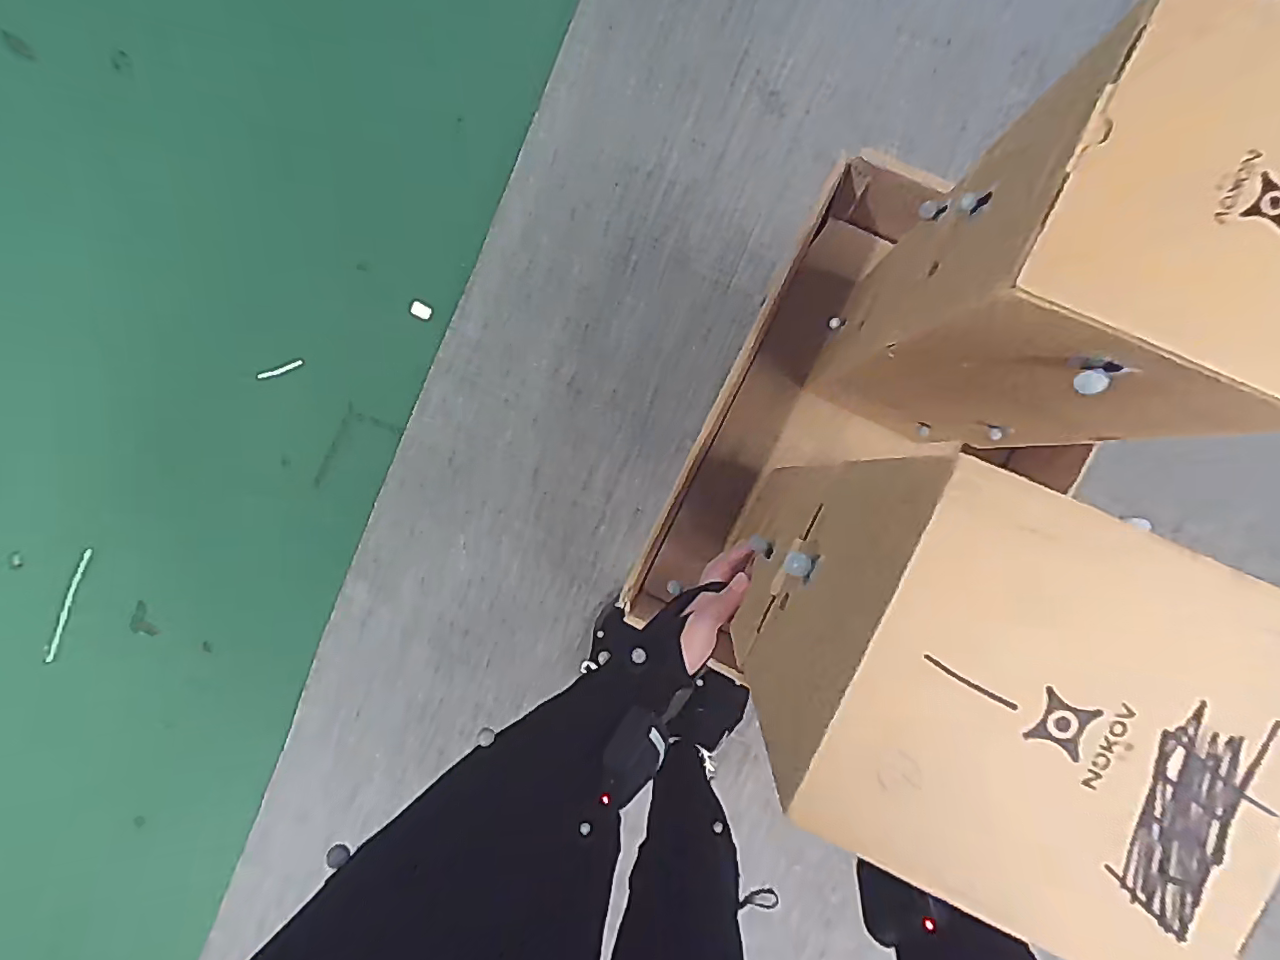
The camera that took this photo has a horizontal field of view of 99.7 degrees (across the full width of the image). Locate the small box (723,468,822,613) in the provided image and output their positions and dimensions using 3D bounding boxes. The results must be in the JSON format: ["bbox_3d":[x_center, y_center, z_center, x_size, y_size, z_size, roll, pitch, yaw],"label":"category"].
[{"bbox_3d":[0.208,0.100,0.614,0.179,0.176,0.168,29,93,4],"label":"small box"}]

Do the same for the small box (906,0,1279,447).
[{"bbox_3d":[0.305,-0.129,0.328,0.179,0.176,0.168,26,95,4],"label":"small box"}]

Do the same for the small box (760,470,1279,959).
[{"bbox_3d":[0.183,0.101,0.287,0.179,0.176,0.168,26,93,5],"label":"small box"}]

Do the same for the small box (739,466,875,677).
[{"bbox_3d":[0.196,0.101,0.452,0.179,0.176,0.168,27,94,5],"label":"small box"}]
